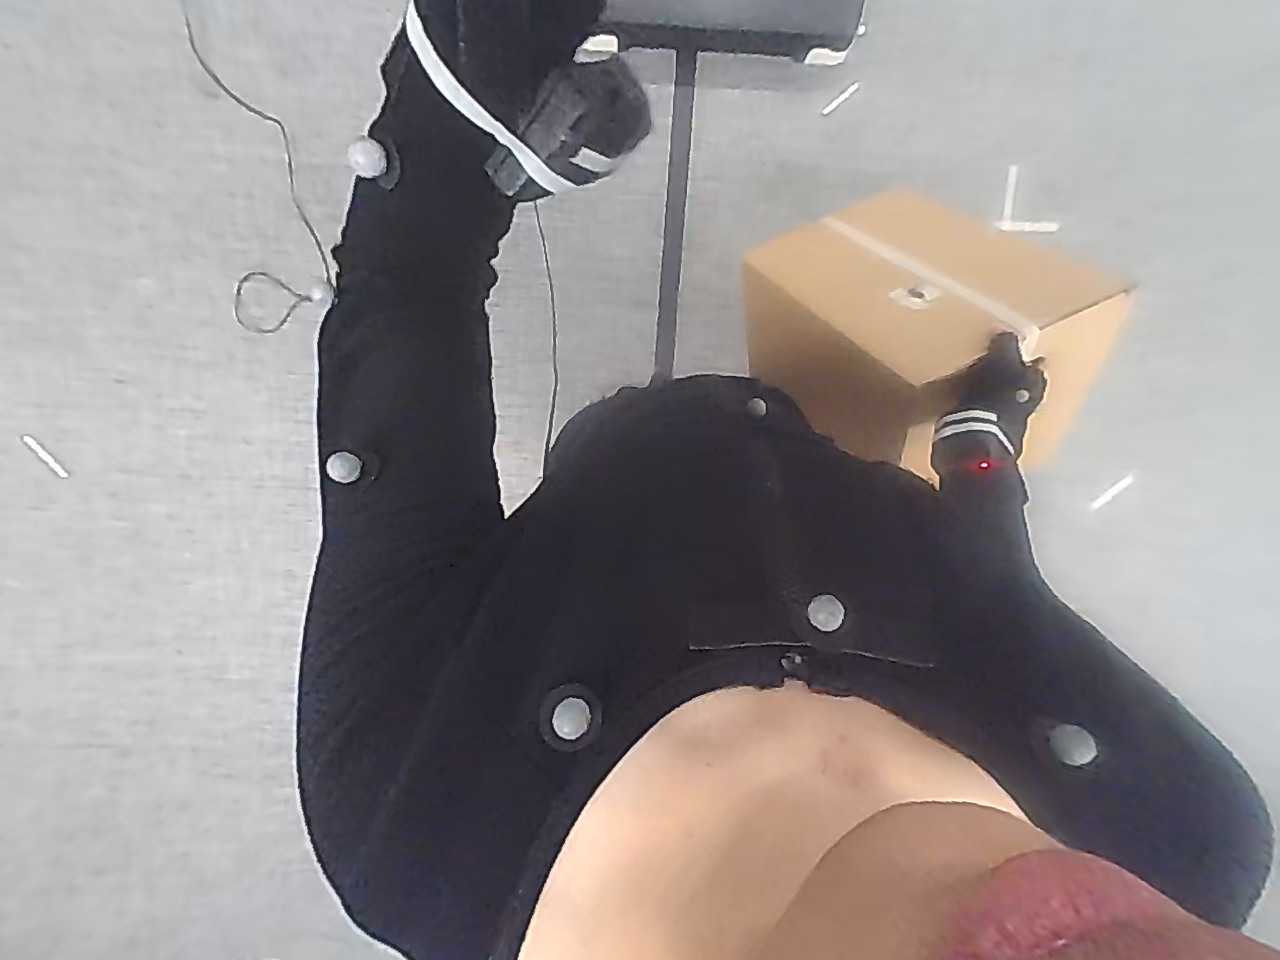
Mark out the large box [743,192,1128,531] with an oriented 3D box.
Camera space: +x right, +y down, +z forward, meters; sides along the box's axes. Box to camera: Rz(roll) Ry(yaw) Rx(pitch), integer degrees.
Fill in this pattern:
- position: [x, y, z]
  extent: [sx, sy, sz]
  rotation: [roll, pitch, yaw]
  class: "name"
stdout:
- position: [0.401, -0.200, 0.868]
  extent: [0.320, 0.408, 0.320]
  rotation: [-24, 138, -6]
  class: "large box"
